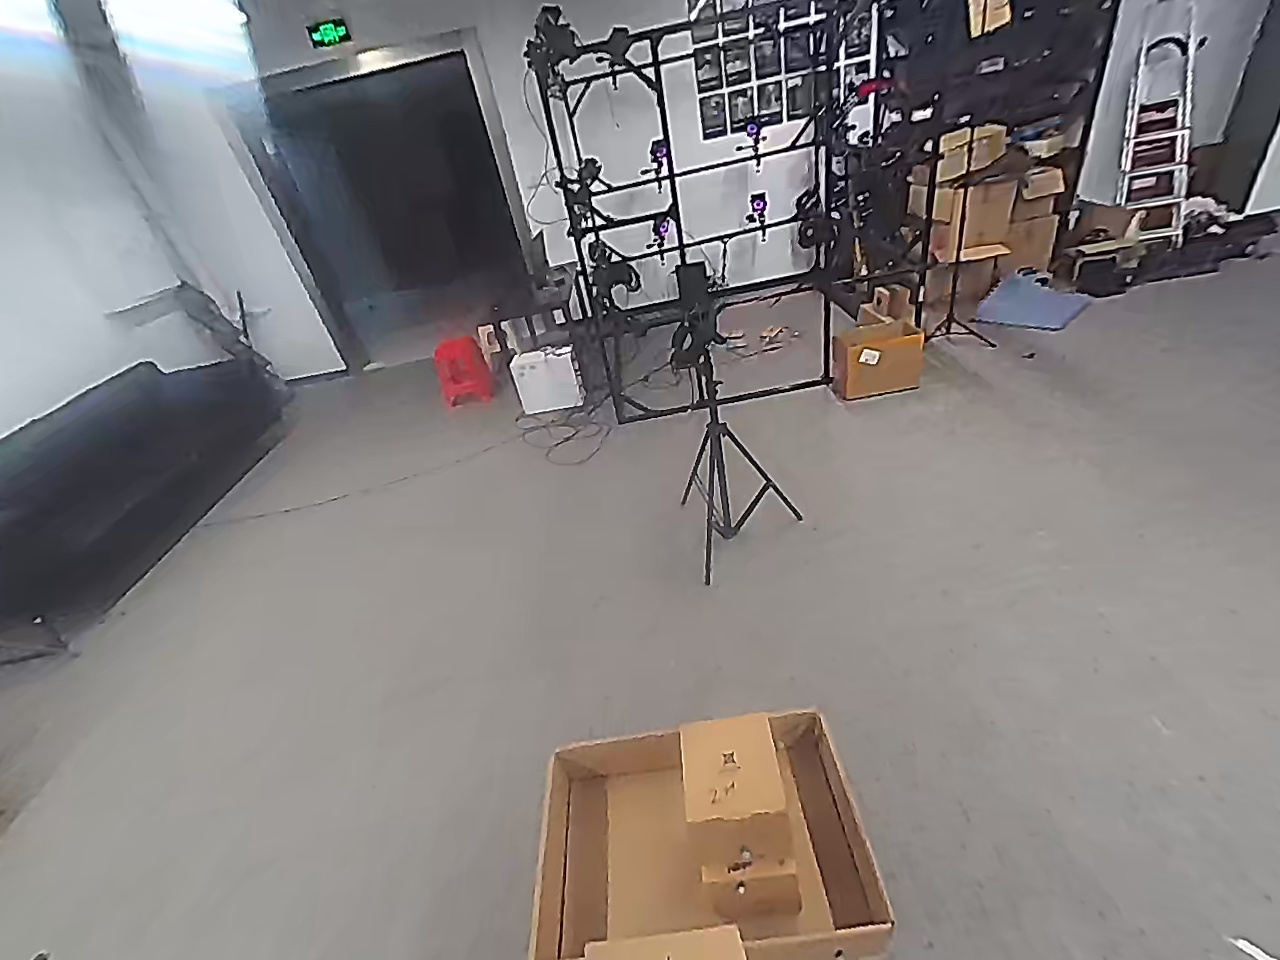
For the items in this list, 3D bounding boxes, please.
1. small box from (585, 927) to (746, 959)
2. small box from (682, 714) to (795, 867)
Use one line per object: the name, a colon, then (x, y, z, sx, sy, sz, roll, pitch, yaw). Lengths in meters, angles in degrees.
small box: (0.034, 0.584, 0.513, 0.168, 0.176, 0.179, -1, 18, -7)
small box: (0.174, 0.555, 0.971, 0.168, 0.176, 0.179, -11, 33, 7)
